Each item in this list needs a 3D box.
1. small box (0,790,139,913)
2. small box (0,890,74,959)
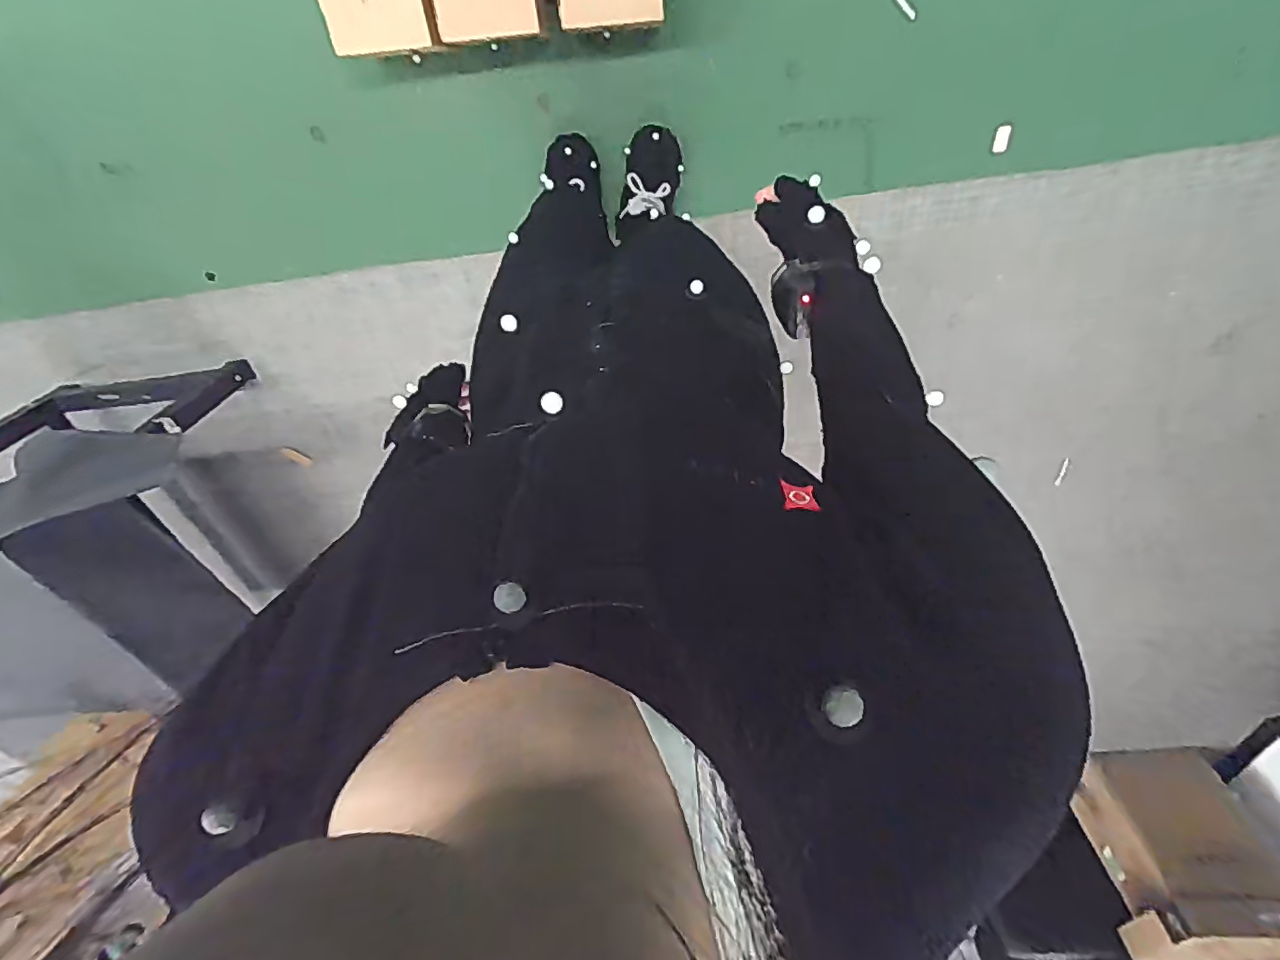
[{"bbox_3d":[-1.179,0.735,1.073,0.168,0.176,0.179,-7,127,6],"label":"small box"},{"bbox_3d":[-1.186,0.836,0.944,0.168,0.176,0.179,-5,126,5],"label":"small box"}]
